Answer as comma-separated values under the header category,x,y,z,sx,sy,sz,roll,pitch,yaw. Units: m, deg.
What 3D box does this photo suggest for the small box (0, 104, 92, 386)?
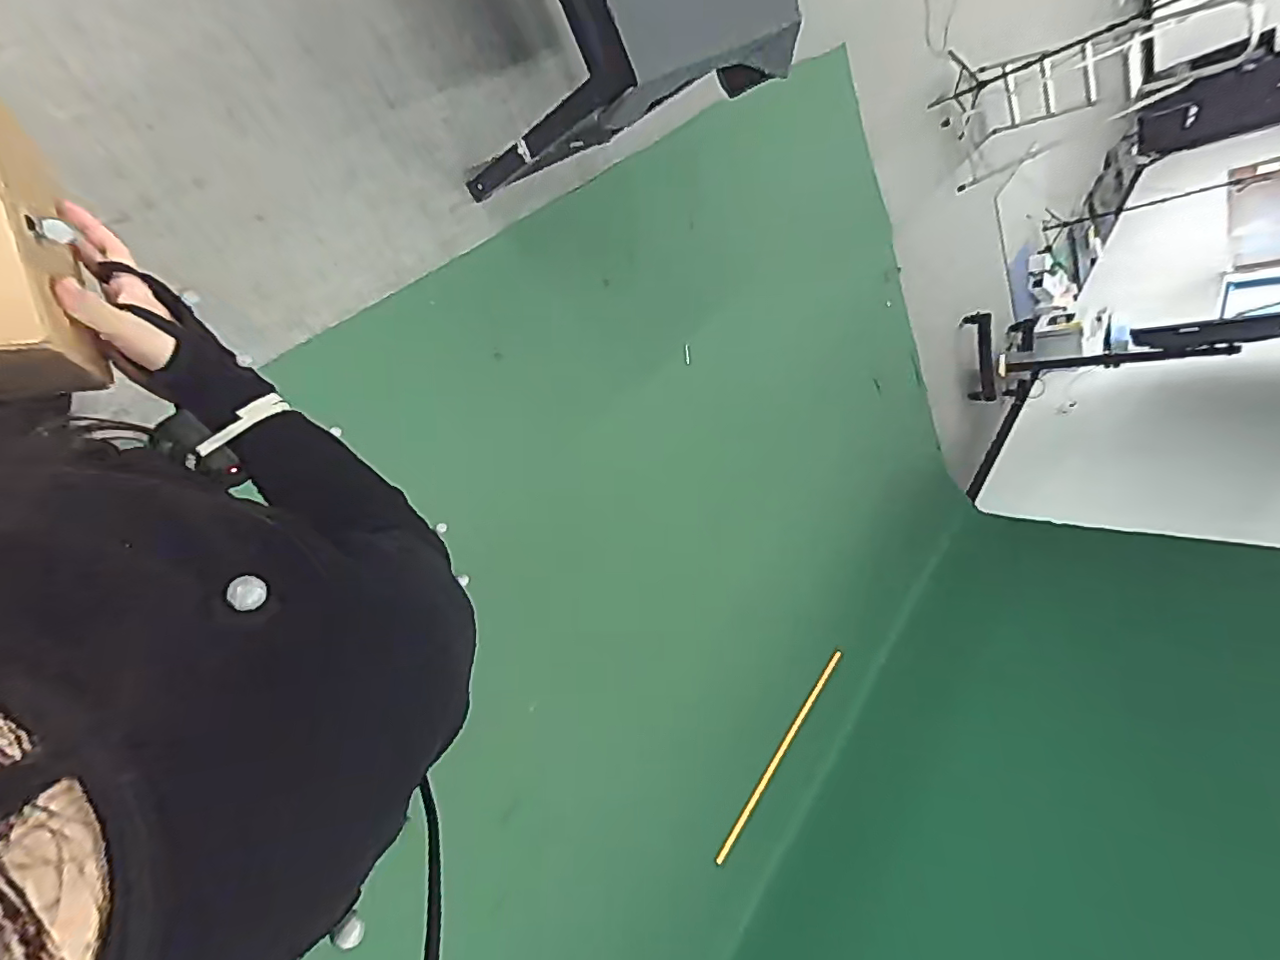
category,x,y,z,sx,sy,sz,roll,pitch,yaw
small box,-0.461,-0.149,0.309,0.168,0.176,0.179,-17,100,-37
